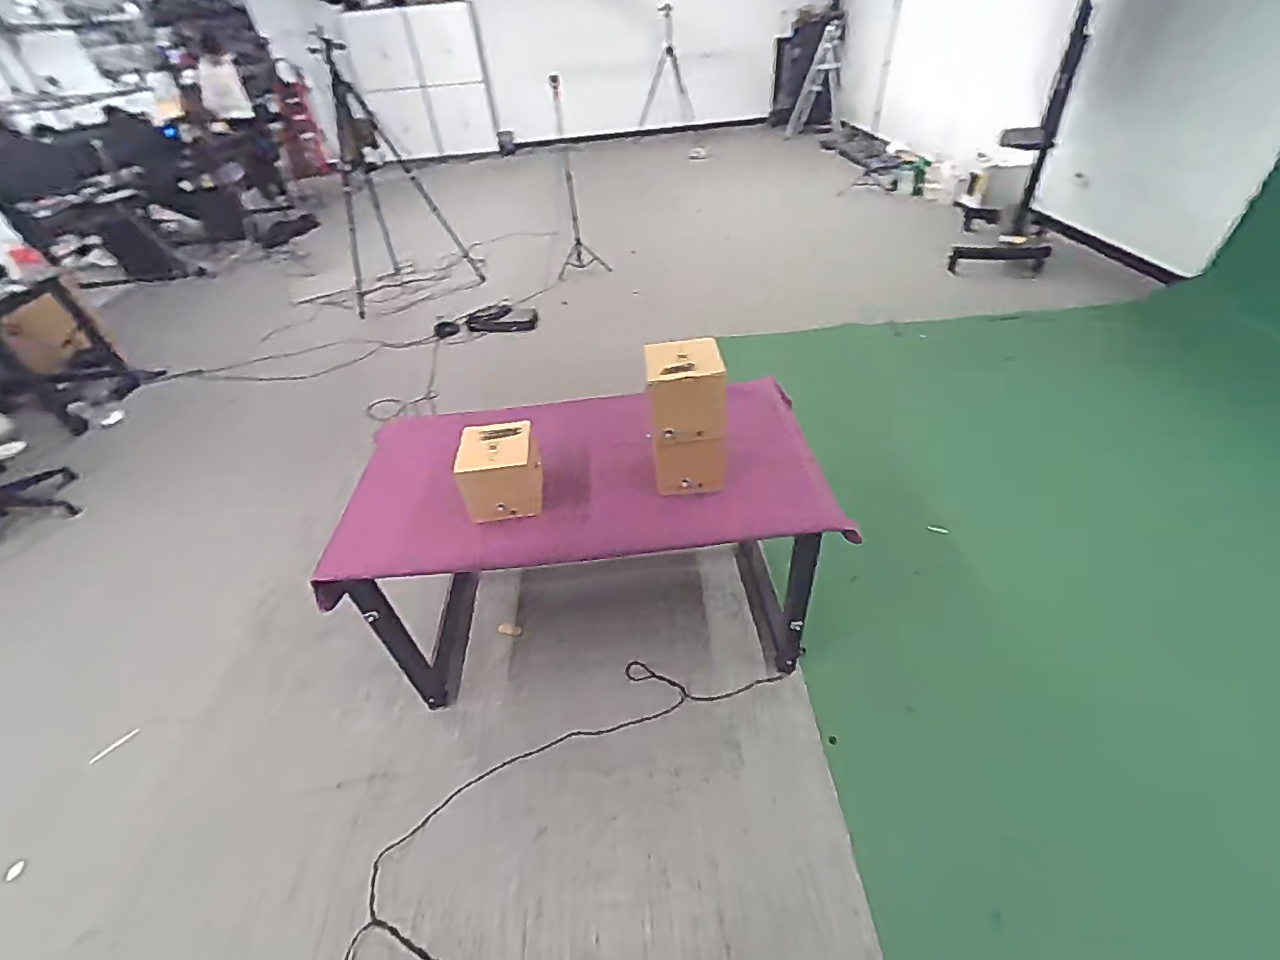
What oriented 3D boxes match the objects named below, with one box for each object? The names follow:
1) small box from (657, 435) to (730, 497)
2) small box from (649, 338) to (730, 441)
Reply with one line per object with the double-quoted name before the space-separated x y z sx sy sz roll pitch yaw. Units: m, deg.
"small box" 0.128 -0.079 1.340 0.168 0.176 0.179 -6 41 3
"small box" 0.112 -0.200 1.232 0.168 0.176 0.179 -6 39 2
